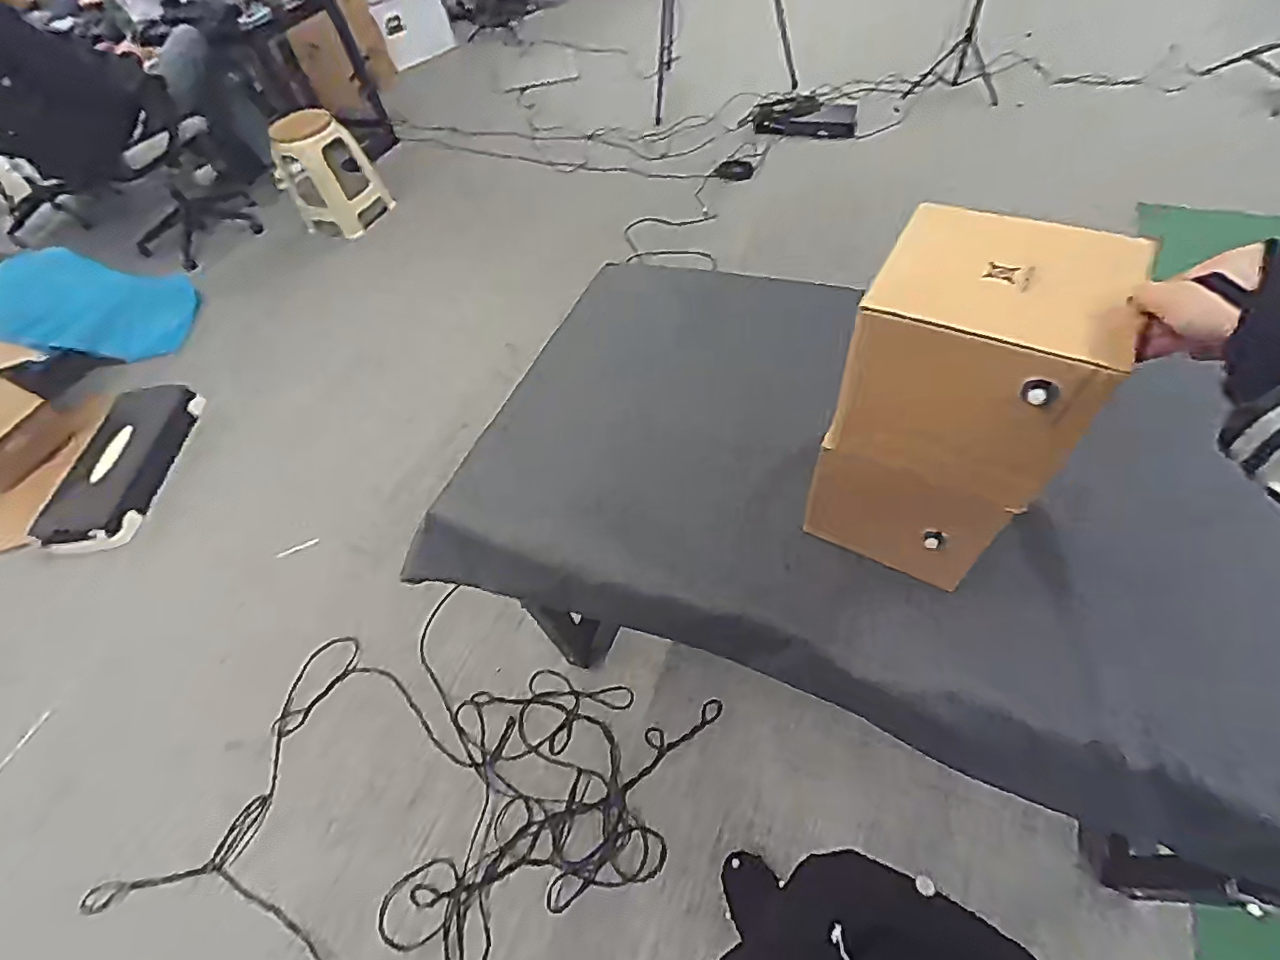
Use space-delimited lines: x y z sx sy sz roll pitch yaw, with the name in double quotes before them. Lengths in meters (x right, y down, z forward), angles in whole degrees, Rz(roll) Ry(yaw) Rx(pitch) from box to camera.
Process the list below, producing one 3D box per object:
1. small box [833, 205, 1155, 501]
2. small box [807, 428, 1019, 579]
"small box" 0.290 -0.108 0.476 0.179 0.176 0.168 24 60 22
"small box" 0.306 -0.012 0.606 0.179 0.176 0.168 23 60 24
